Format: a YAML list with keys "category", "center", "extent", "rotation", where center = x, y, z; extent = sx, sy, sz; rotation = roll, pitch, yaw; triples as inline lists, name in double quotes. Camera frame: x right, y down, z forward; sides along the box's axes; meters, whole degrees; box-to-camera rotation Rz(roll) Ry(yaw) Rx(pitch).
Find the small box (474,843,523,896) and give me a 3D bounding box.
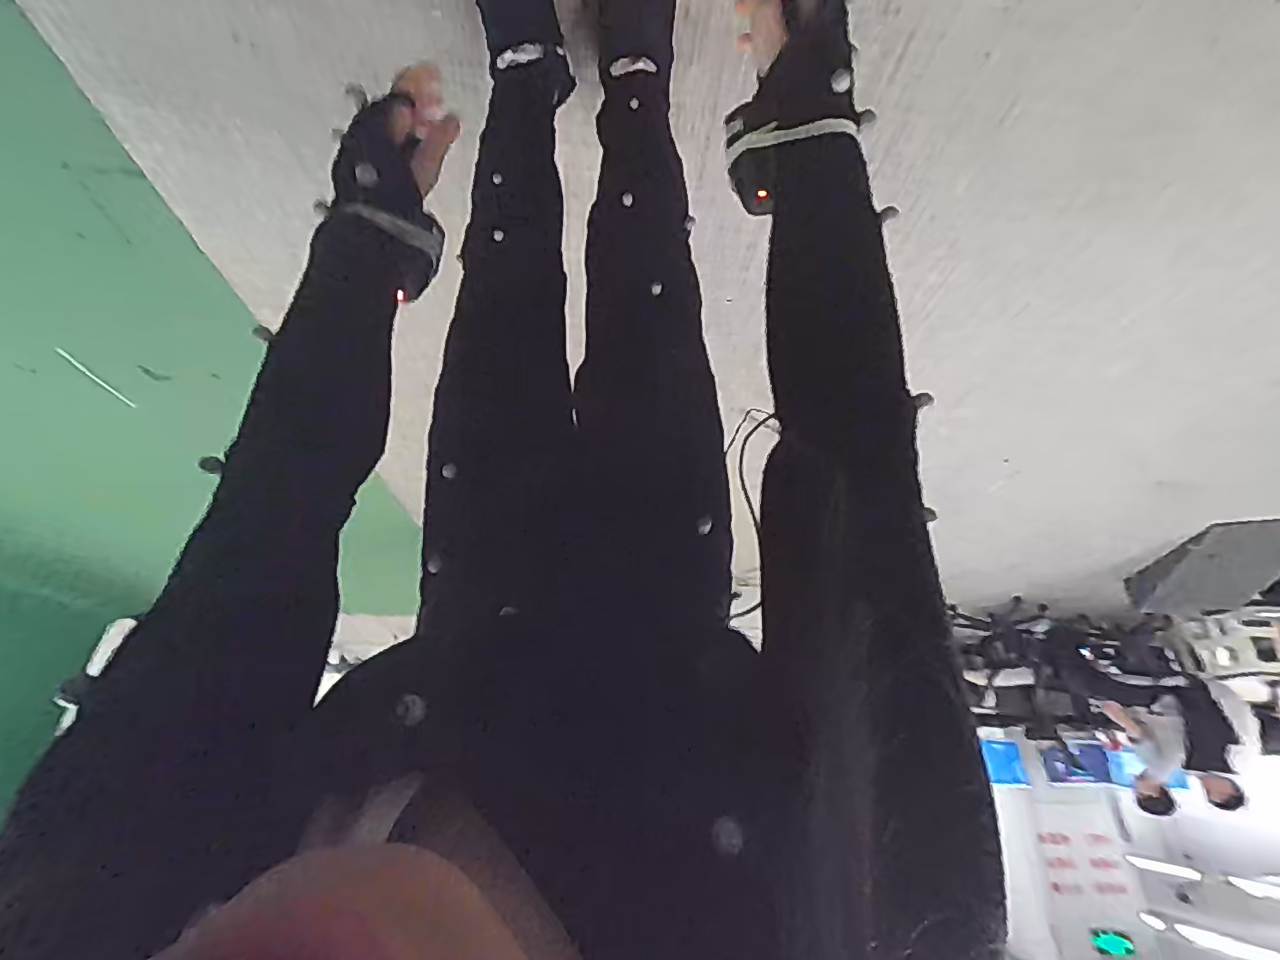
- category: "small box"
  center: [-0.603, 1.658, 2.309]
  extent: [0.179, 0.176, 0.168]
  rotation: [7, 150, -12]
